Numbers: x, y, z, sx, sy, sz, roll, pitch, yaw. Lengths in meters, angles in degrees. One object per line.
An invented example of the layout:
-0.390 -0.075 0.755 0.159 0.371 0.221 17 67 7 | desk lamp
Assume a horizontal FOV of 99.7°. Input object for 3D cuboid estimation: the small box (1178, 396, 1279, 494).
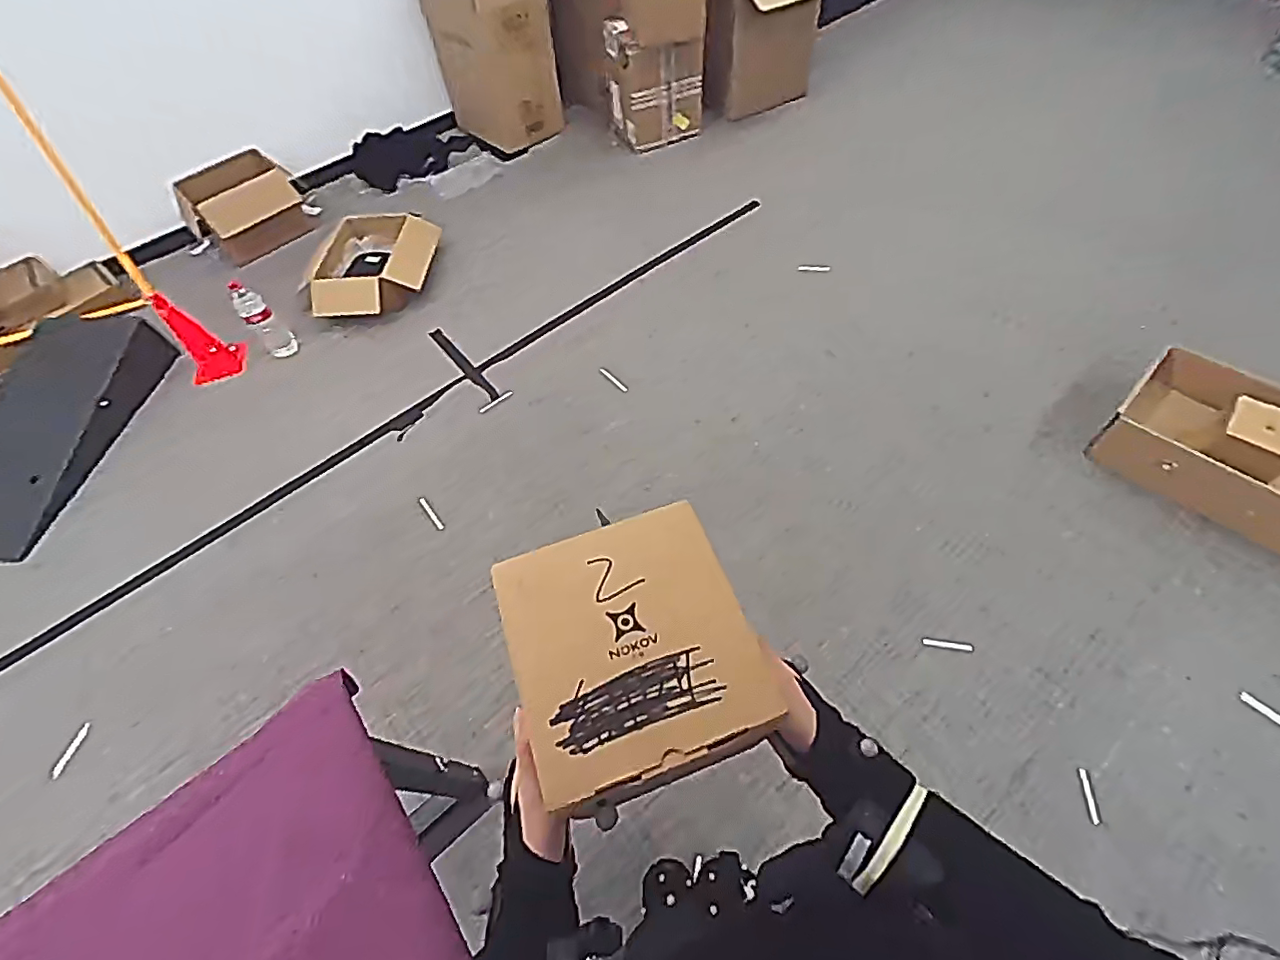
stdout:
1.681 -0.095 1.520 0.168 0.176 0.179 34 66 25 | small box
